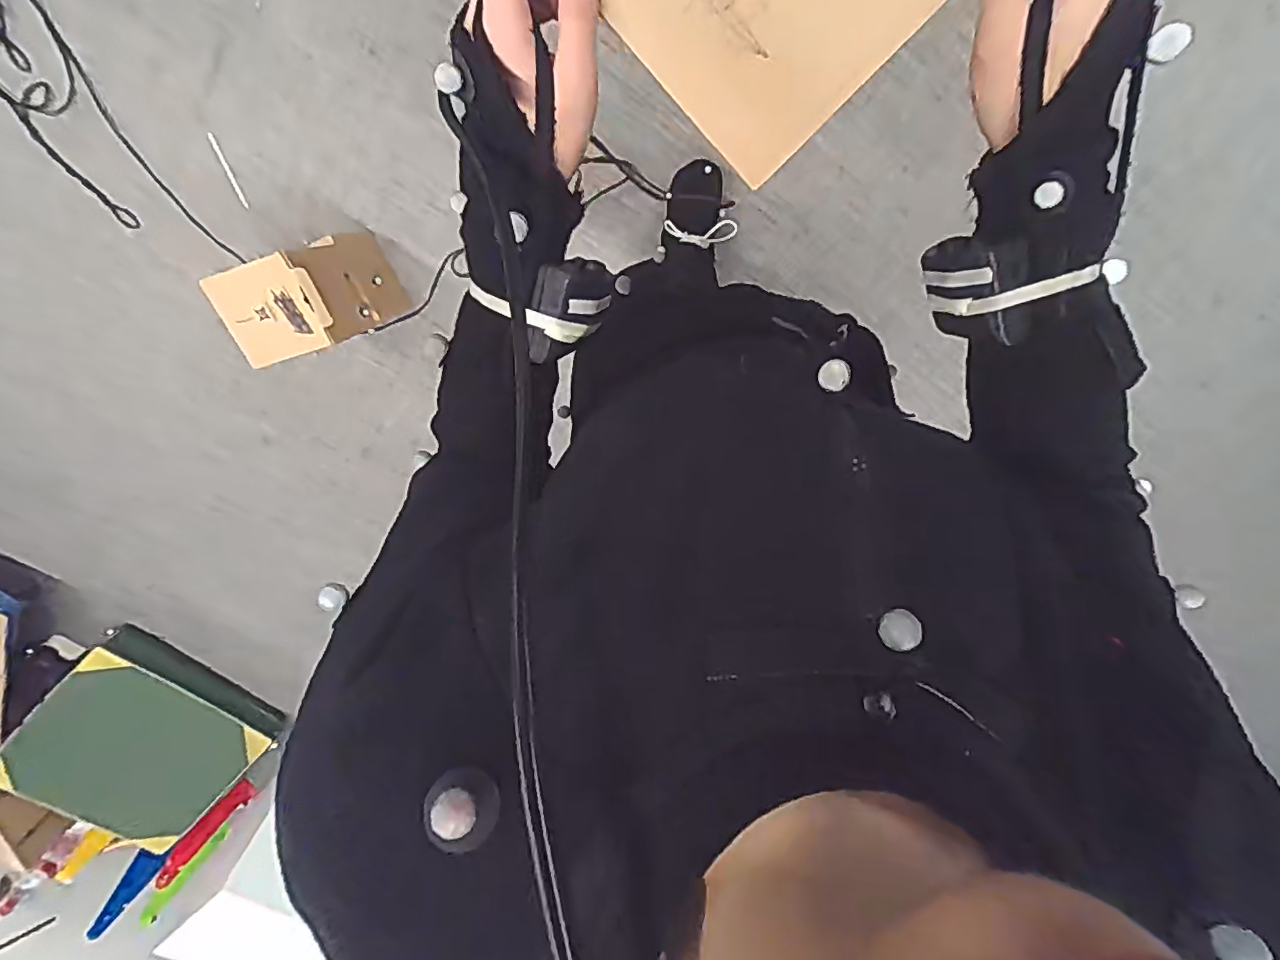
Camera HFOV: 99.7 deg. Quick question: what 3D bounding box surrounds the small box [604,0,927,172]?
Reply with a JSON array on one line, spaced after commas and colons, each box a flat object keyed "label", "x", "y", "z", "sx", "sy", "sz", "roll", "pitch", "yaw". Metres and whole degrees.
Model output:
[{"label": "small box", "x": 0.068, "y": -0.318, "z": 0.287, "sx": 0.168, "sy": 0.176, "sz": 0.179, "roll": 33, "pitch": 128, "yaw": -26}]

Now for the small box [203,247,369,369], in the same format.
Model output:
[{"label": "small box", "x": -0.649, "y": -0.330, "z": 1.023, "sx": 0.179, "sy": 0.176, "sz": 0.168, "roll": -13, "pitch": 116, "yaw": 10}]

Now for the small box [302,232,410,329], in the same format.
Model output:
[{"label": "small box", "x": -0.634, "y": -0.414, "z": 1.165, "sx": 0.168, "sy": 0.176, "sz": 0.179, "roll": -18, "pitch": 116, "yaw": 12}]
